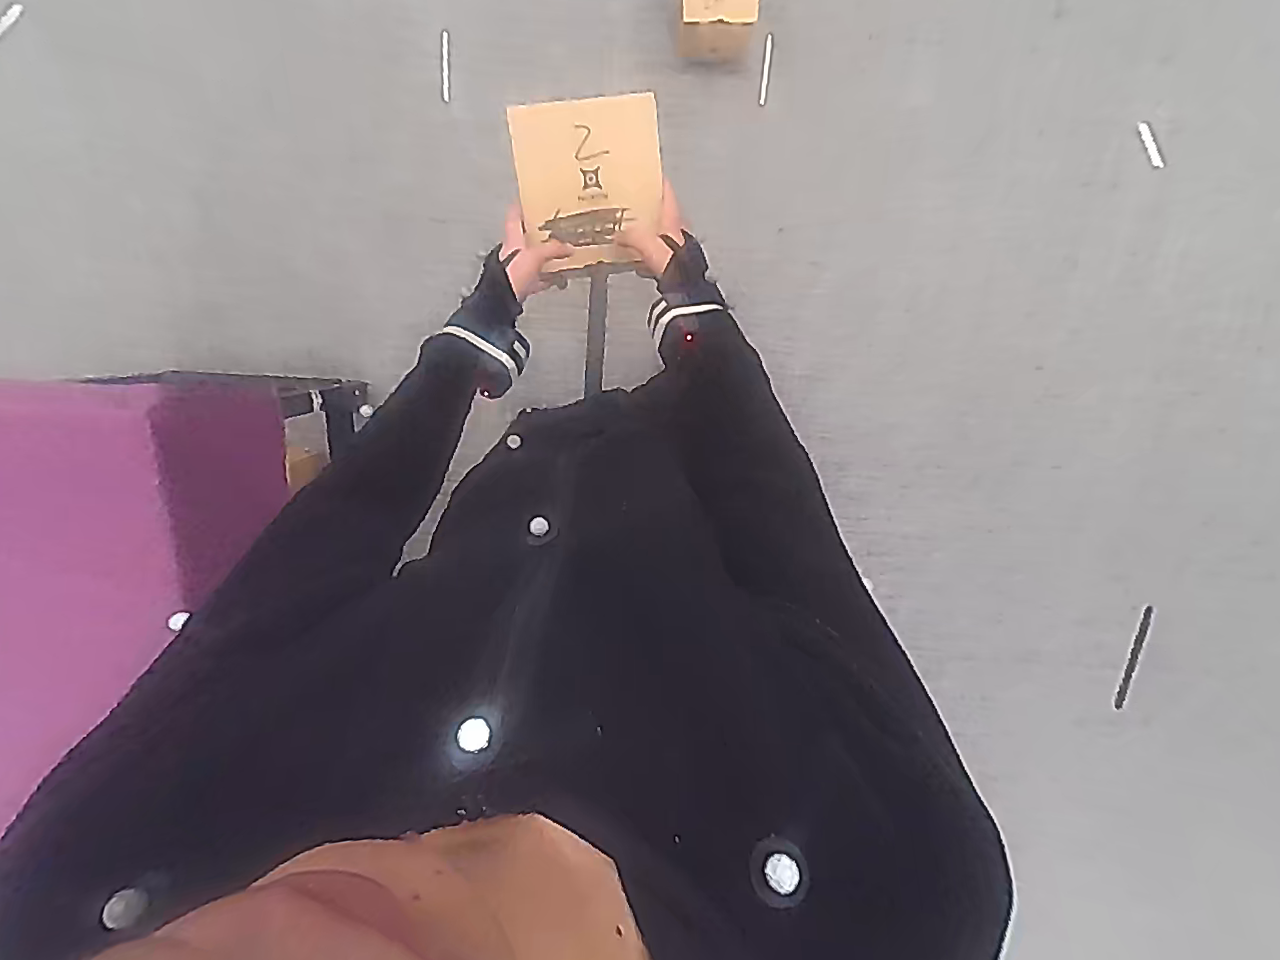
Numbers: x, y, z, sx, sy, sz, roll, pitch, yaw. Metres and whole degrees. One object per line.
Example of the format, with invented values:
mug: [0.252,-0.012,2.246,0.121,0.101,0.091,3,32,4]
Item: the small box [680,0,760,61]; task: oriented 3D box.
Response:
small box: [0.181,-1.106,1.242,0.168,0.176,0.179,1,106,0]
